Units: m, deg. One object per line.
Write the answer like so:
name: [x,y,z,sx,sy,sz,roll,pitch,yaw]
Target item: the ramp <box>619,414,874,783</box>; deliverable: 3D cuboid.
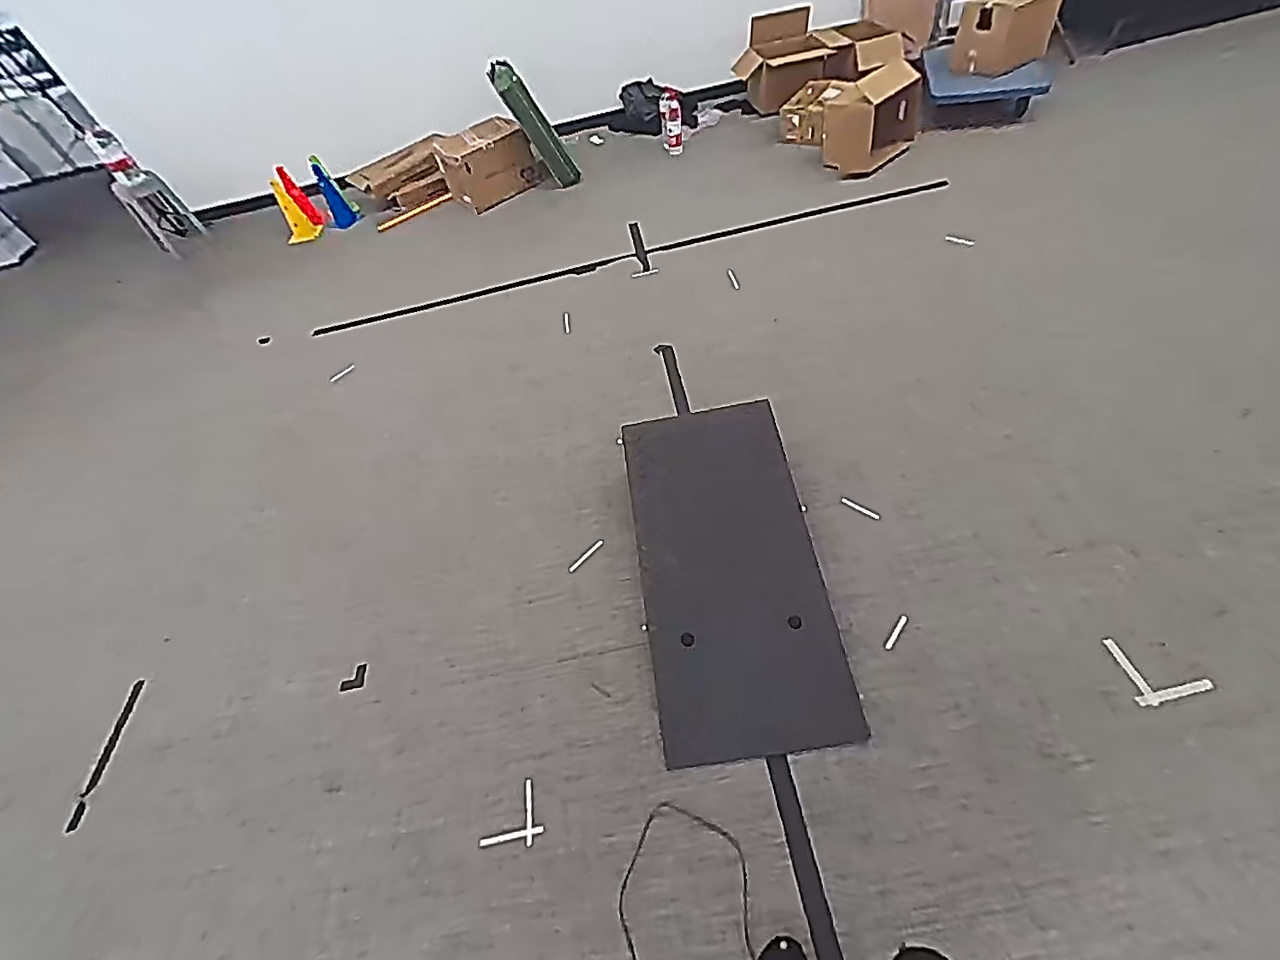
ramp: [0.246,0.258,1.536,0.509,0.206,0.991,-13,50,1]
